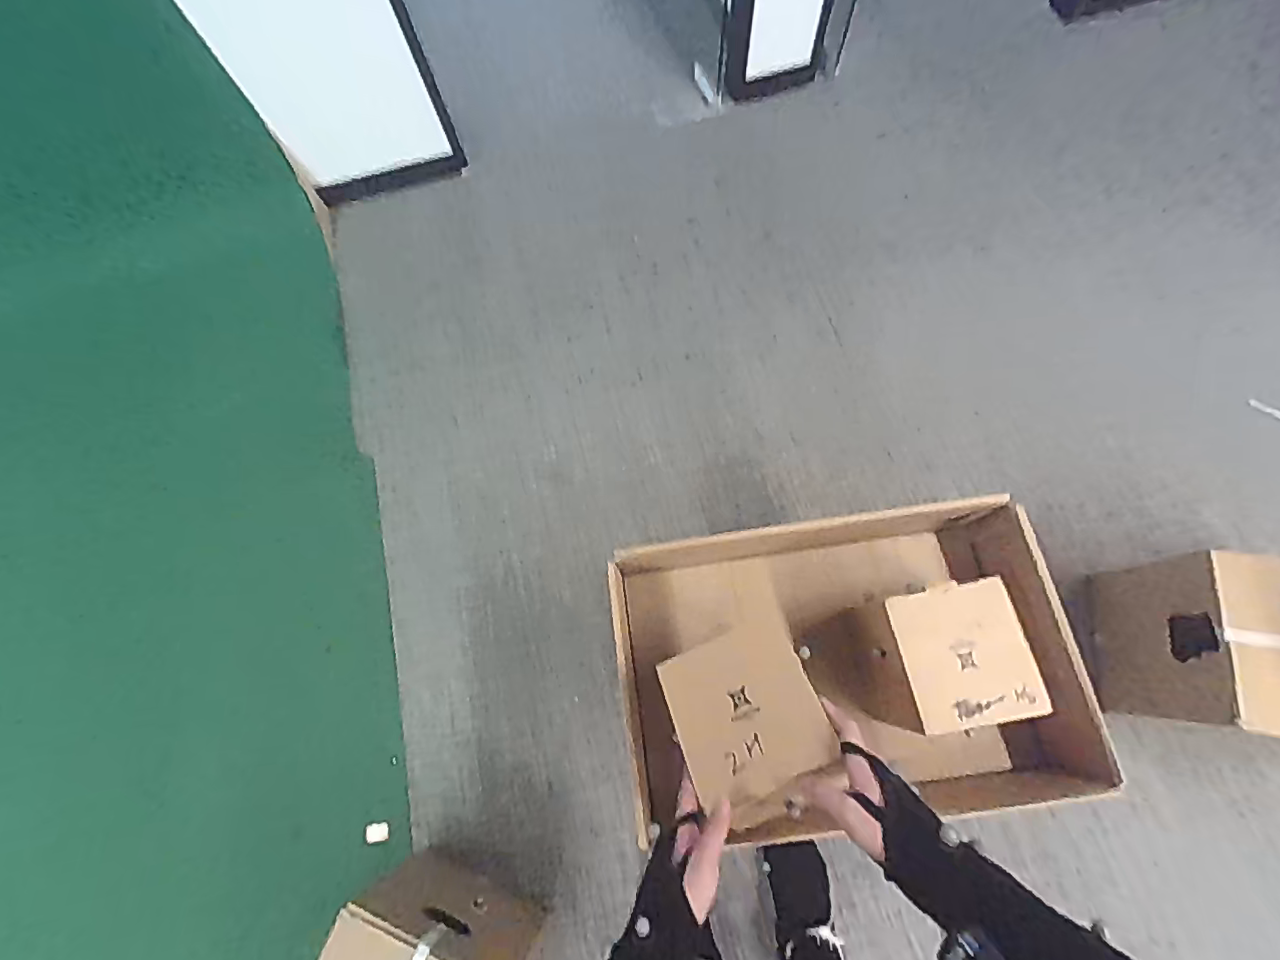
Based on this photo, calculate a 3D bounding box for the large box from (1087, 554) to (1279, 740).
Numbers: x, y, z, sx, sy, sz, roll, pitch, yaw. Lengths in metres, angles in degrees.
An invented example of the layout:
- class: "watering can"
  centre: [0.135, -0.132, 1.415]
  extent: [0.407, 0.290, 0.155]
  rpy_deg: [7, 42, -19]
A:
- class: "large box"
  centre: [1.223, 0.347, 1.076]
  extent: [0.408, 0.320, 0.320]
  rpy_deg: [7, 71, 6]

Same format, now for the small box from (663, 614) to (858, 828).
- class: "small box"
  centre: [0.149, 0.302, 0.671]
  extent: [0.168, 0.176, 0.179]
  rpy_deg: [-26, 49, 5]
